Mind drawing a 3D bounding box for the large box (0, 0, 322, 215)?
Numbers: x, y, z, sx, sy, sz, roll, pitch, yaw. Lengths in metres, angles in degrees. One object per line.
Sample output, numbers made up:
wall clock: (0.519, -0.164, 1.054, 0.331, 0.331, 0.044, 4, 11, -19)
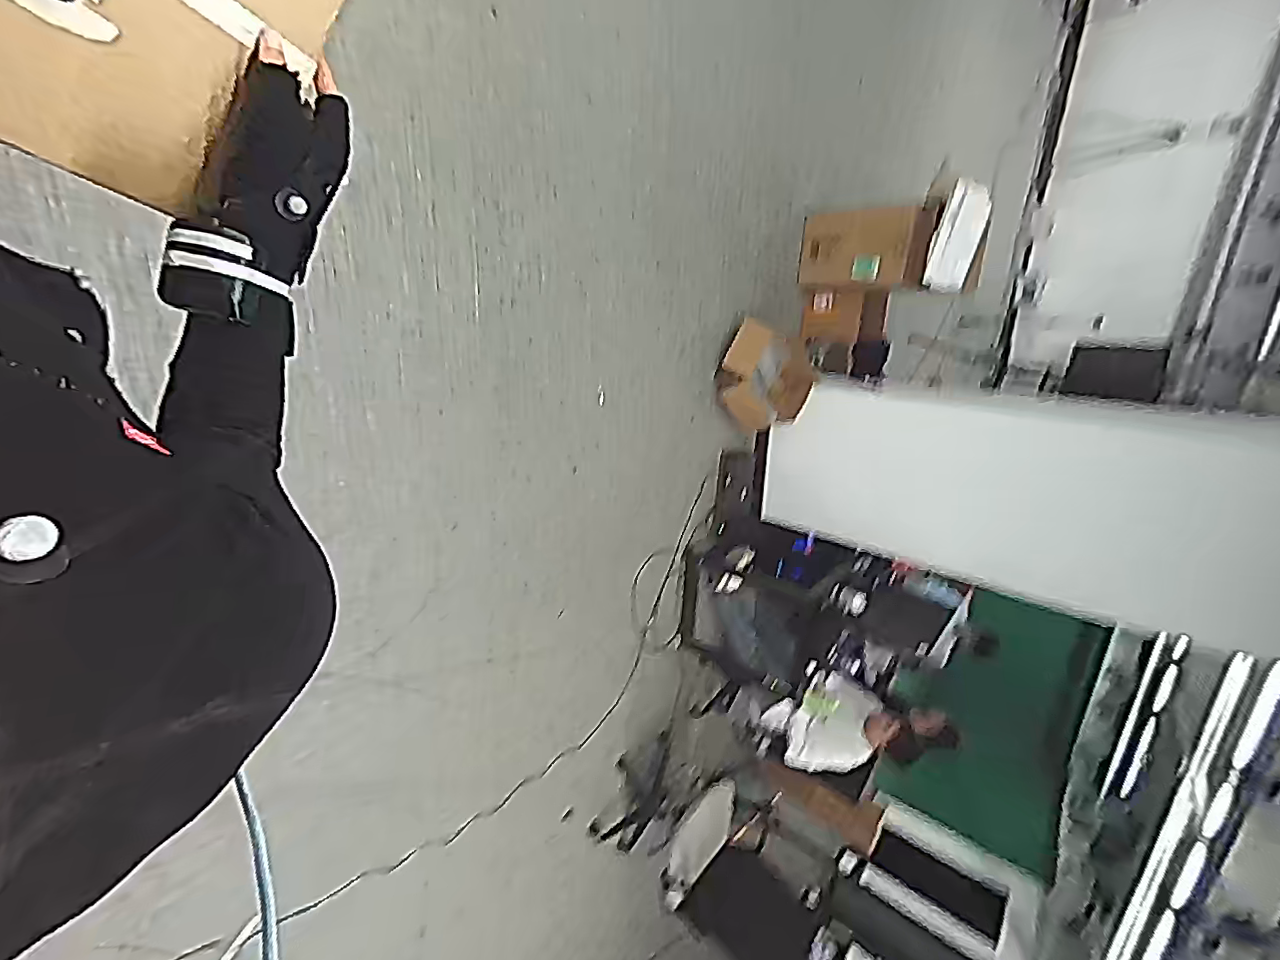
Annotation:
large box: (-0.477, -0.462, 0.347, 0.320, 0.320, 0.408, -53, 150, 16)
